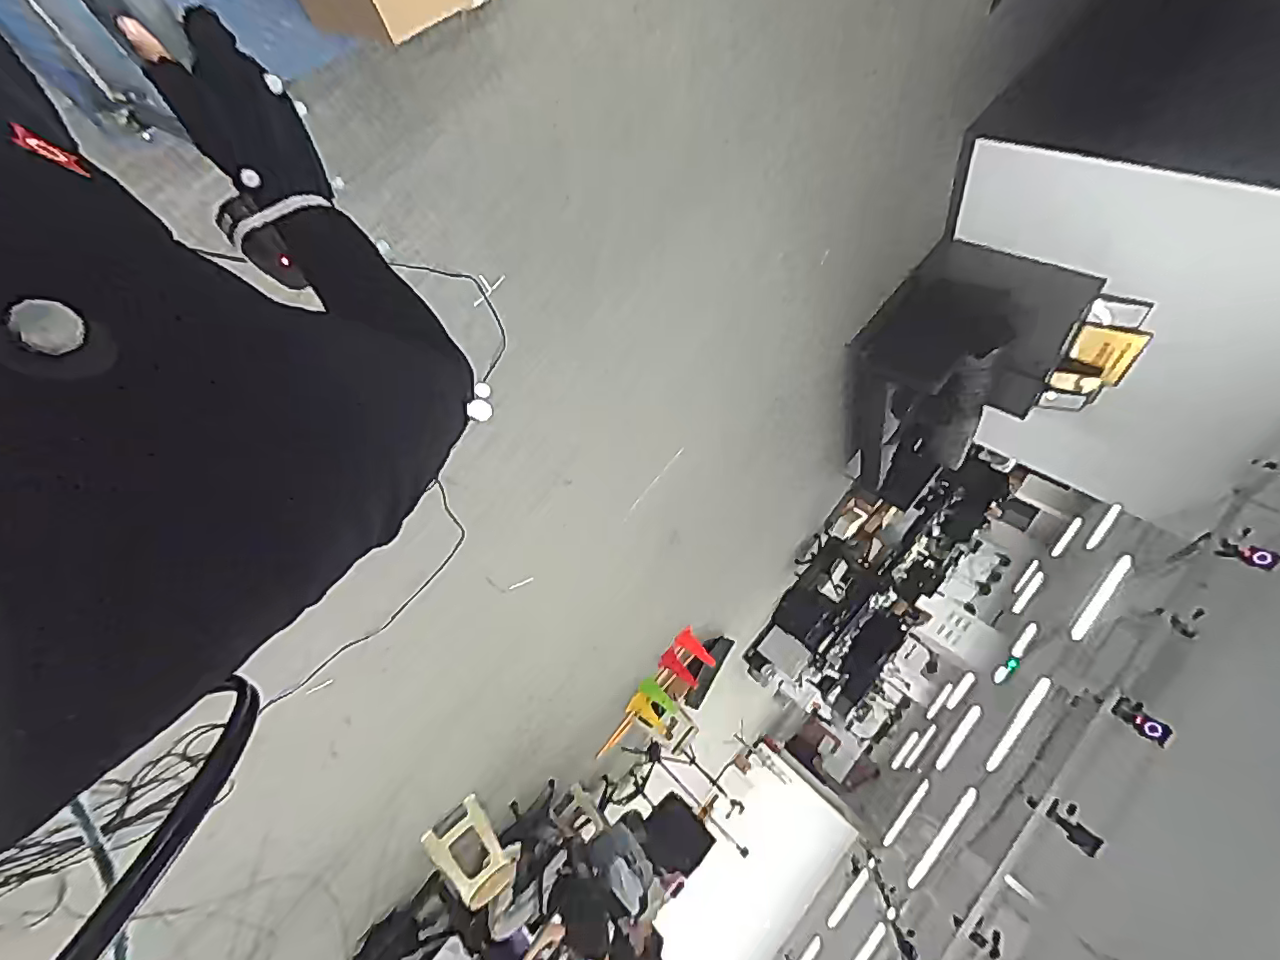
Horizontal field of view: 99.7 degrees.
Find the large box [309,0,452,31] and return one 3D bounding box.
[{"bbox_3d":[-0.404,-0.942,0.754,0.320,0.320,0.408,-44,147,-16],"label":"large box"}]
